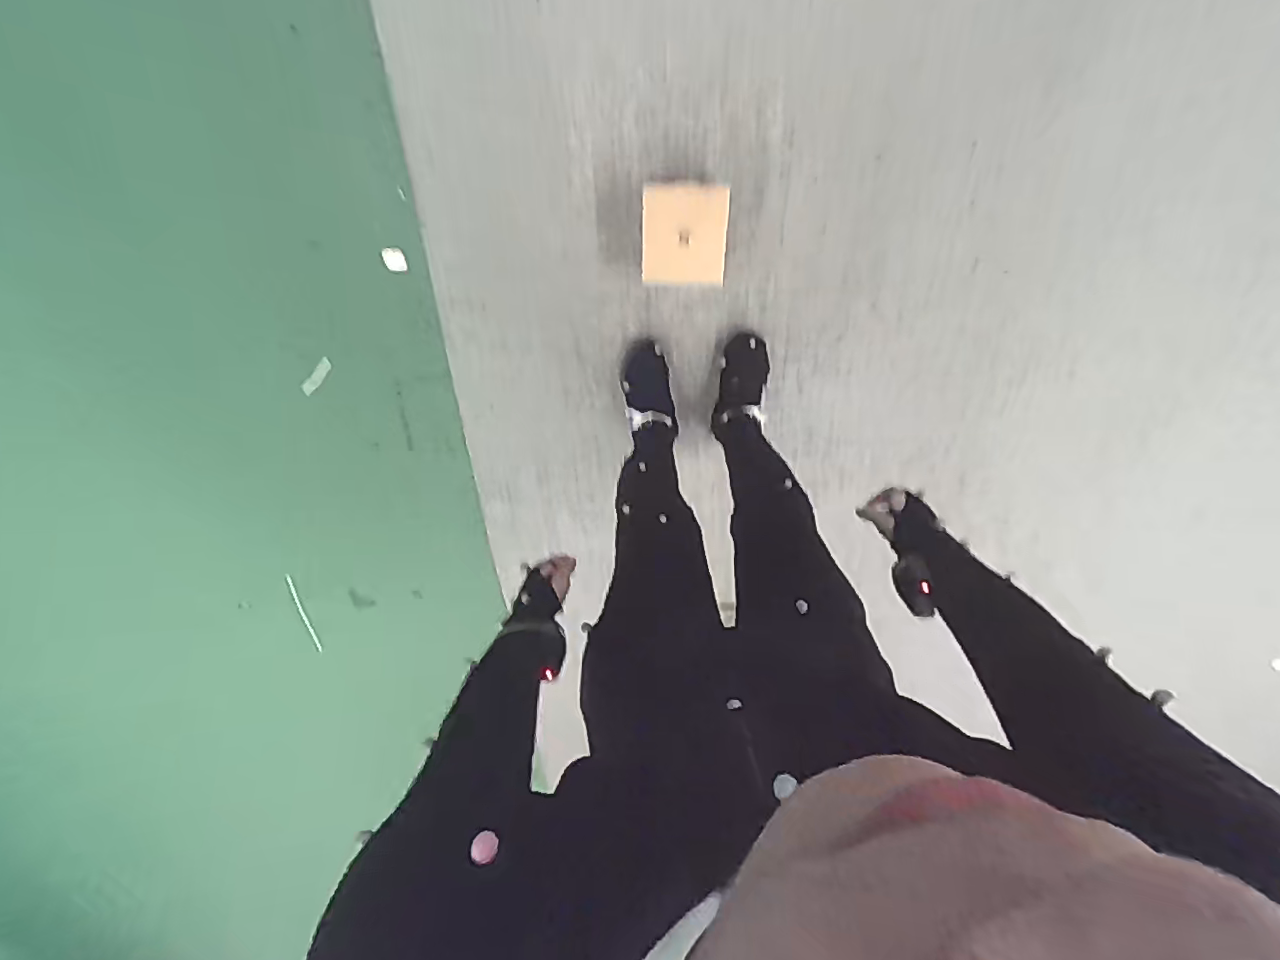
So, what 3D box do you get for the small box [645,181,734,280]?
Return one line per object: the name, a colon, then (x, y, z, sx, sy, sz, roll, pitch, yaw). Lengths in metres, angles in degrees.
small box: (0.097, -0.519, 1.122, 0.168, 0.176, 0.179, 1, 117, 1)
